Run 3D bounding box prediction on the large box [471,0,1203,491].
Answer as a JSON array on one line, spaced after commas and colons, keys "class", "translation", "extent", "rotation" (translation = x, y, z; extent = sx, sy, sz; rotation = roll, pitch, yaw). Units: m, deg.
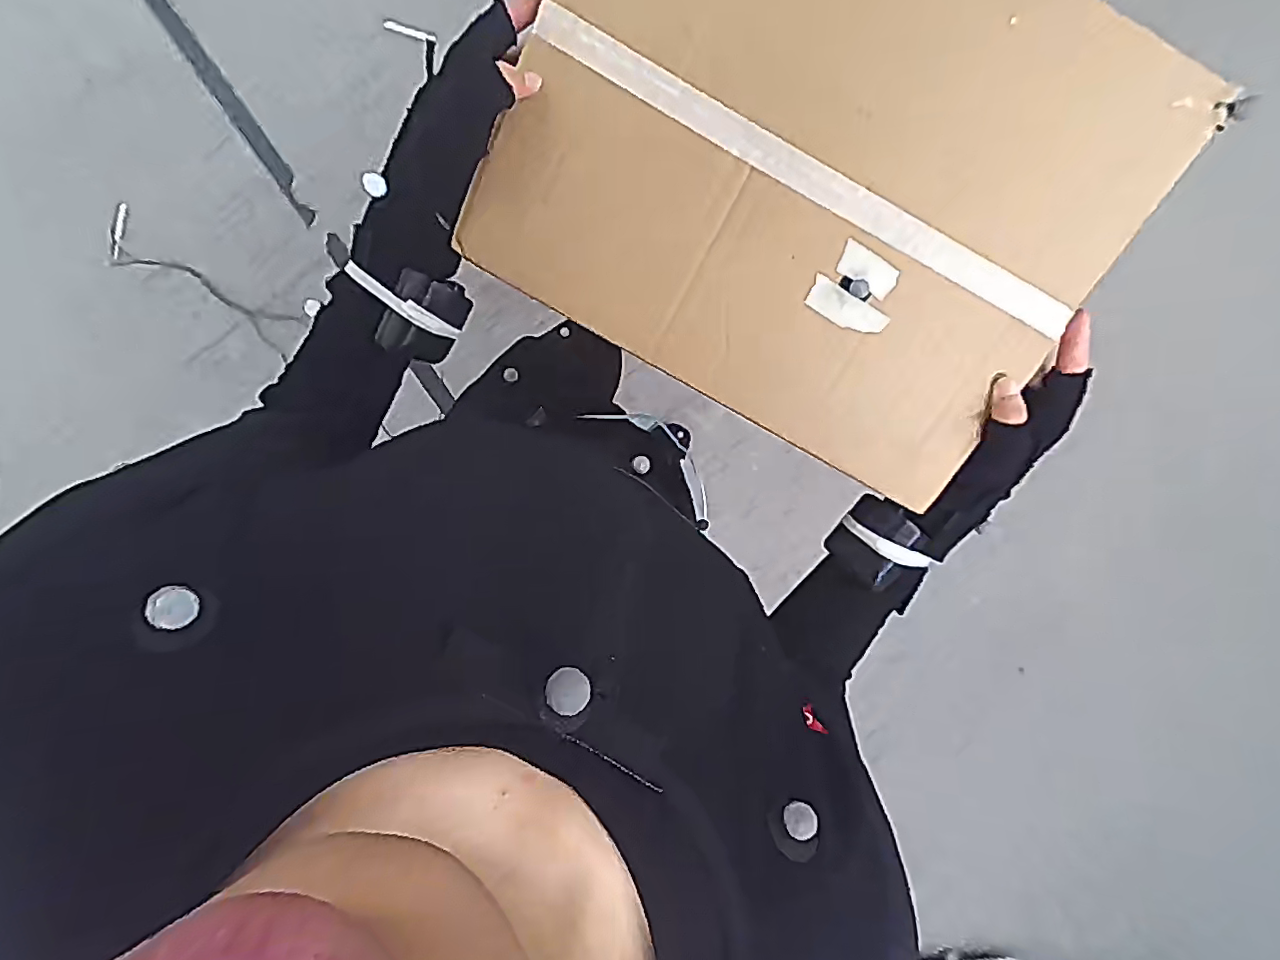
[{"class": "large box", "translation": [0.125, -0.248, 0.515], "extent": [0.408, 0.320, 0.320], "rotation": [28, 107, -4]}]
